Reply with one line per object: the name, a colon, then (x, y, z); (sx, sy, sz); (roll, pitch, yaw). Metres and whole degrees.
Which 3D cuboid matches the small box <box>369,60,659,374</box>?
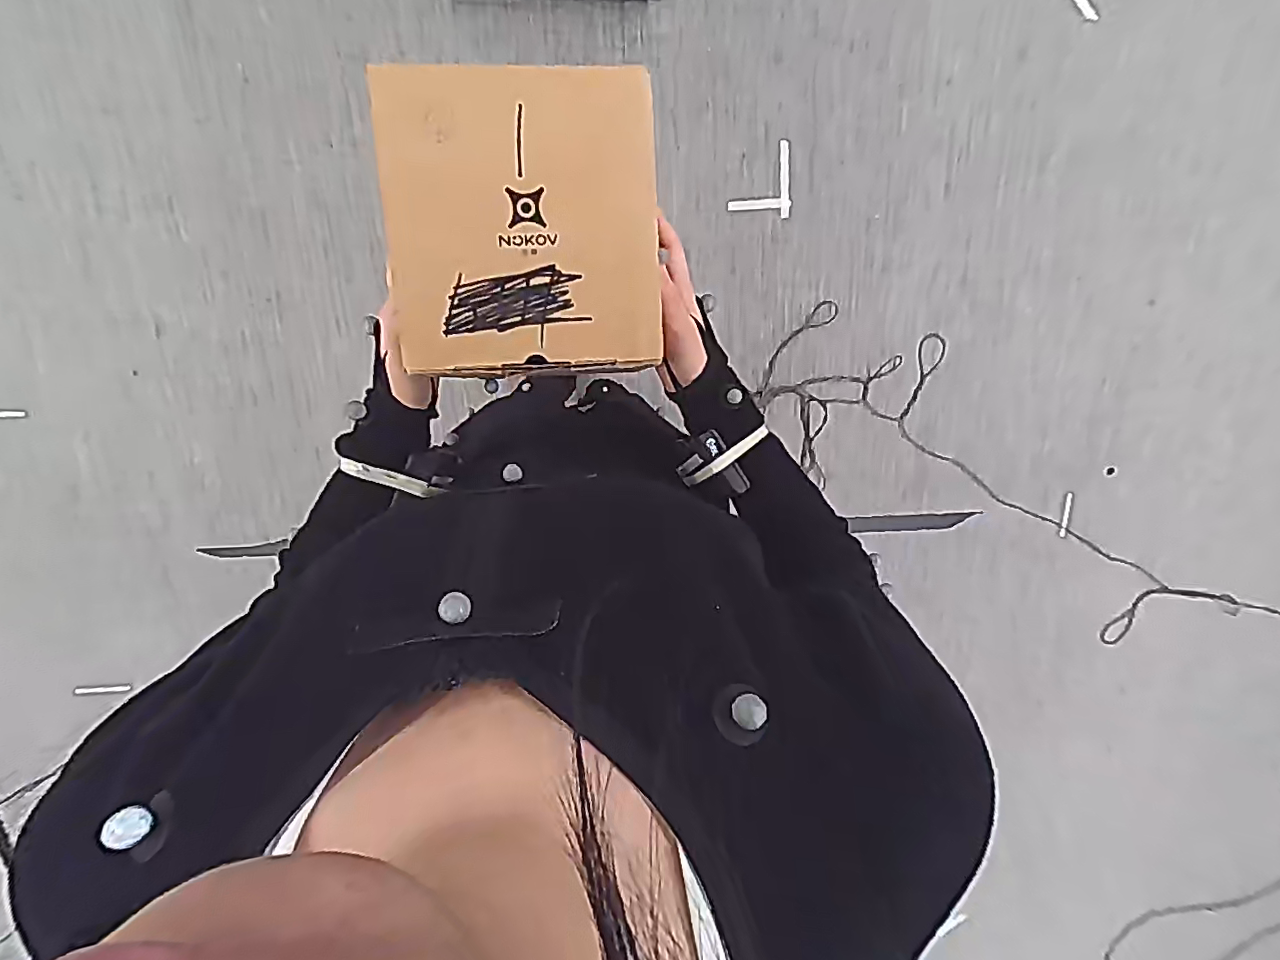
small box: (-0.078, -0.171, 0.407); (0.168, 0.176, 0.179); (-4, 99, -6)
